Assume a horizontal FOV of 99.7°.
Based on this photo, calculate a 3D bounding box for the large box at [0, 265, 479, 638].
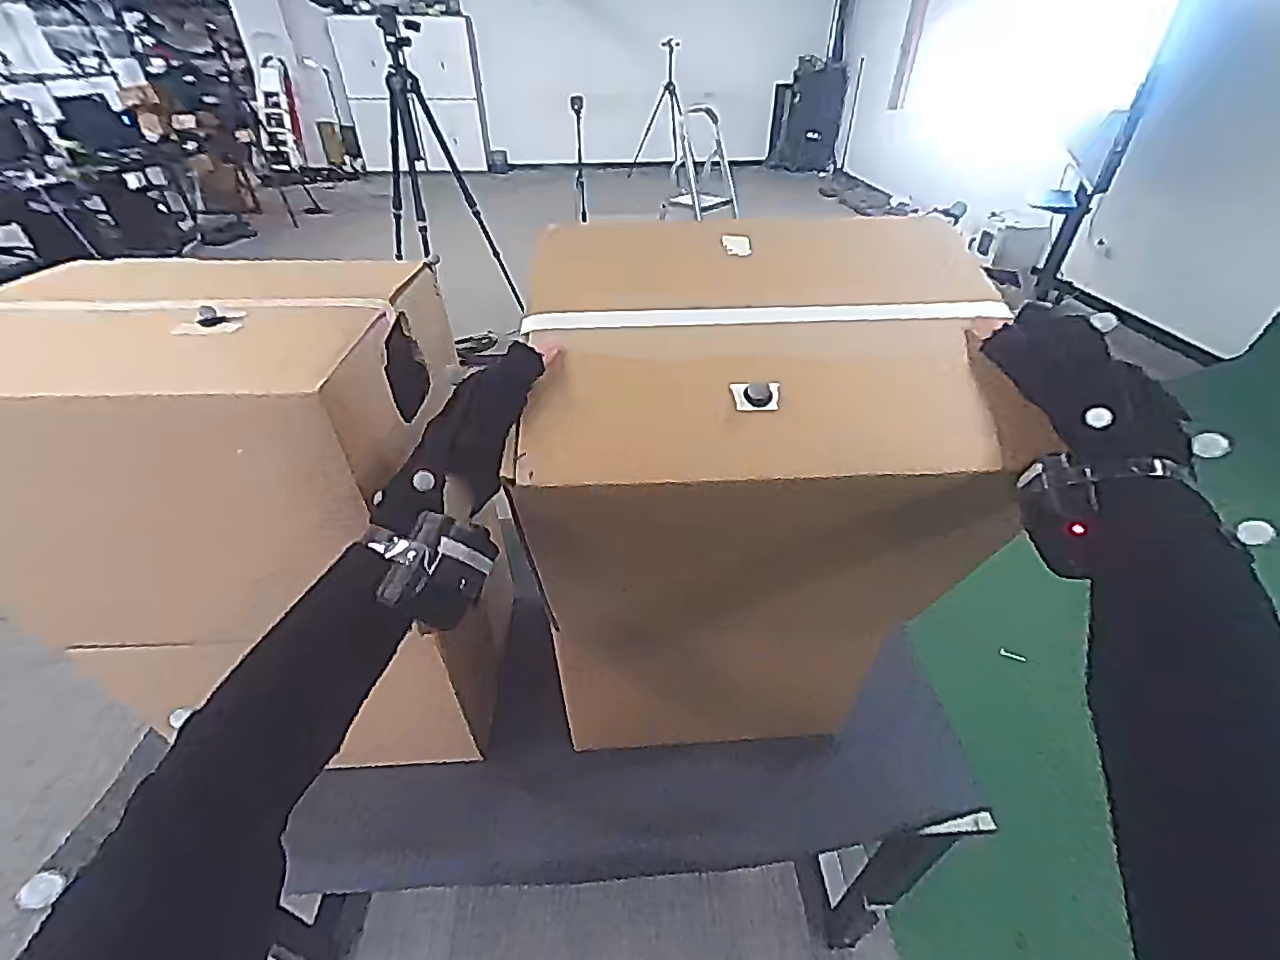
[{"bbox_3d":[-0.434,-0.040,0.616,0.408,0.320,0.320,0,40,-3],"label":"large box"}]
